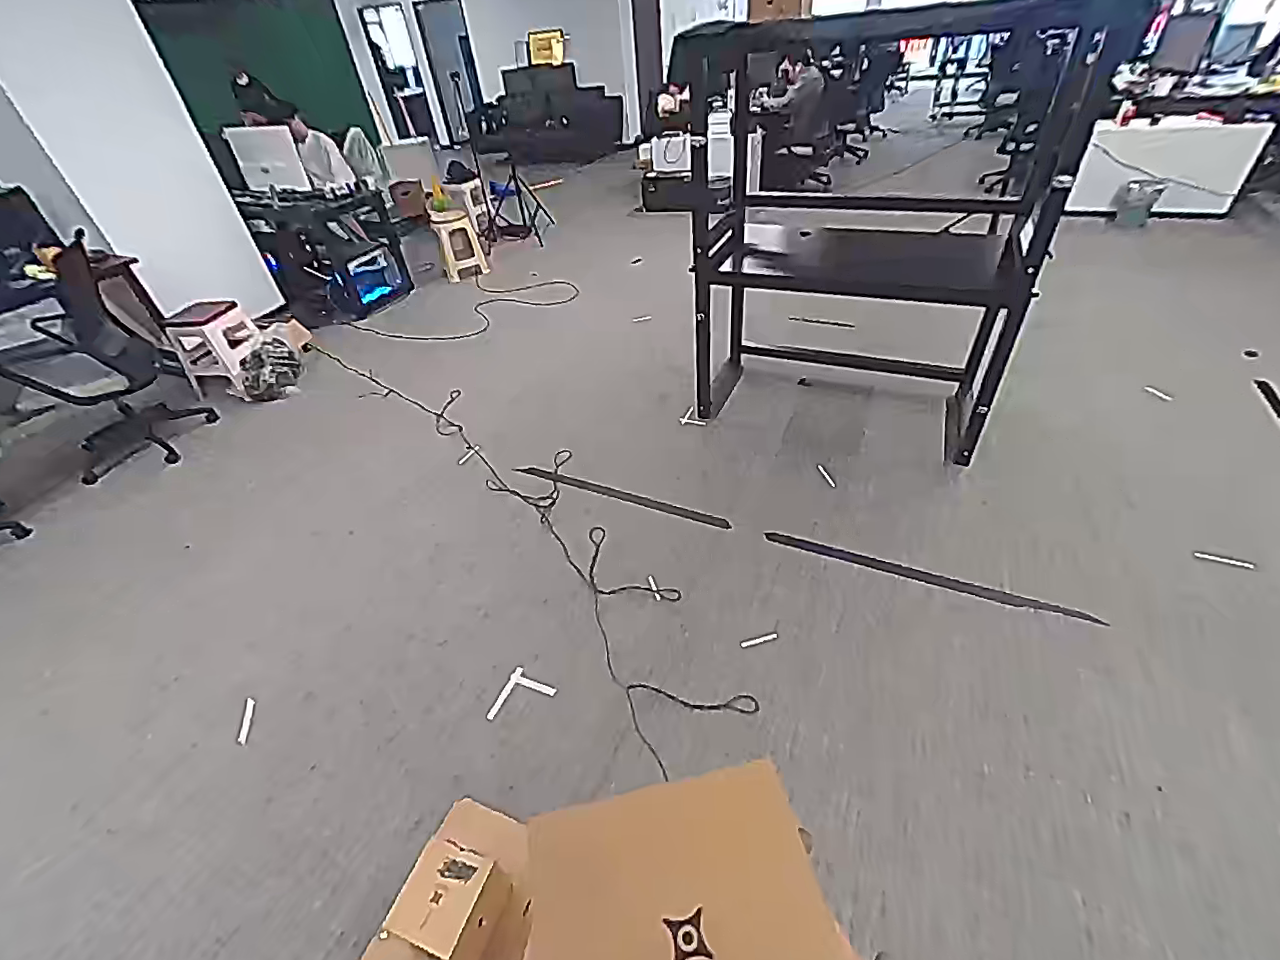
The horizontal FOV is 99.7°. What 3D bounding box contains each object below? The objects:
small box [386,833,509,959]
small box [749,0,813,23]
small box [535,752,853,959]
[{"bbox_3d":[-0.402,0.913,1.170,0.168,0.176,0.179,10,43,18],"label":"small box"},{"bbox_3d":[0.435,-1.502,1.643,0.168,0.176,0.179,14,43,20],"label":"small box"},{"bbox_3d":[0.030,0.310,0.346,0.168,0.176,0.179,-10,45,-8],"label":"small box"}]
